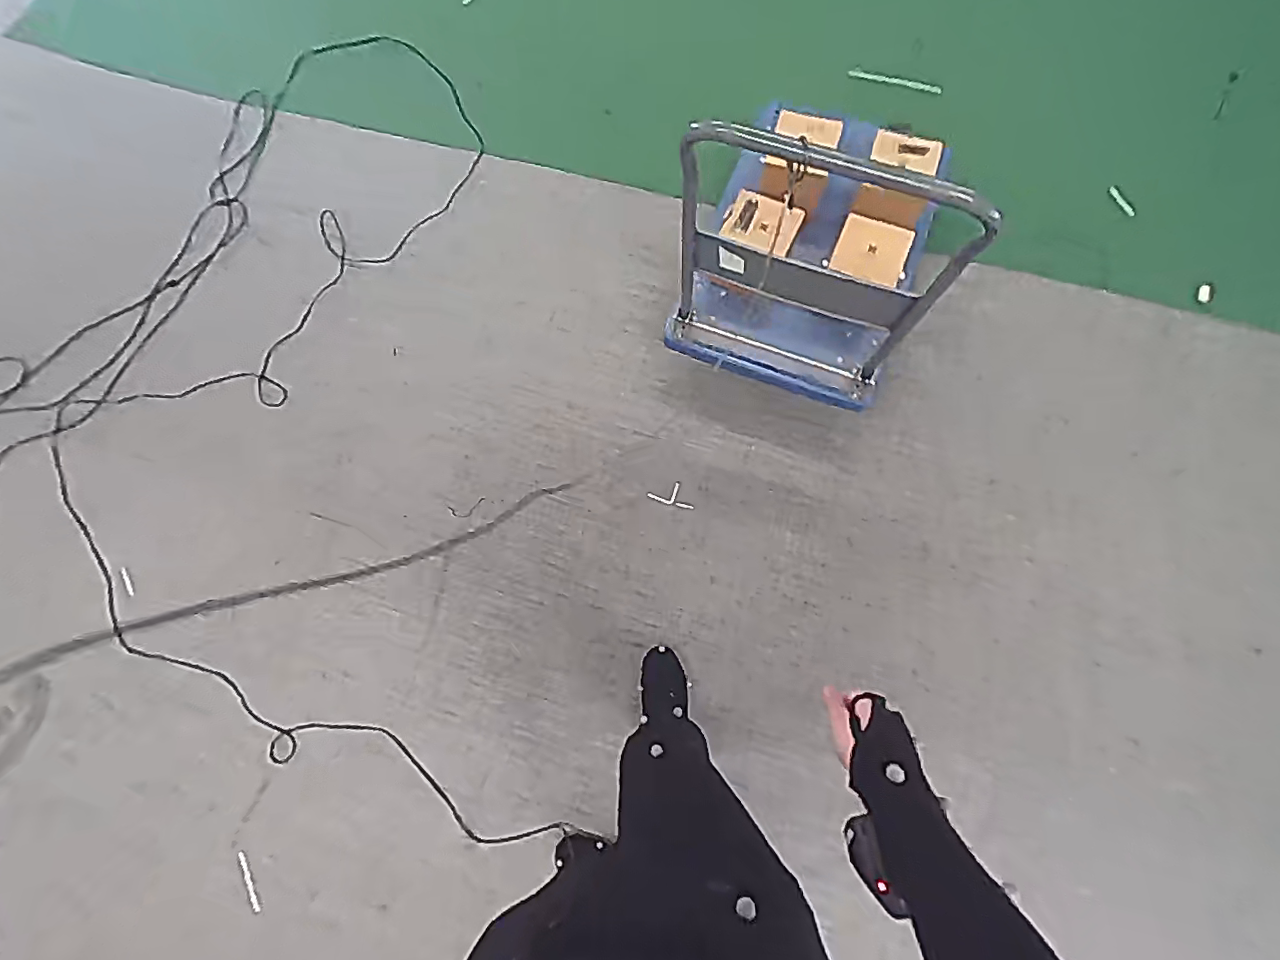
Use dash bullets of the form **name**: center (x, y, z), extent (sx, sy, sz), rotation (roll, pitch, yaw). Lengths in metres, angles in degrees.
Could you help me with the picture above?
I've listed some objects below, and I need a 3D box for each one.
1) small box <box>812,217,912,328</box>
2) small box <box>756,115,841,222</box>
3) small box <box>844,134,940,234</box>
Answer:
- **small box**: center (0.559, -0.525, 1.381), extent (0.168, 0.176, 0.179), rotation (22, 78, 9)
- **small box**: center (0.424, -0.841, 1.473), extent (0.168, 0.176, 0.179), rotation (17, 77, 7)
- **small box**: center (0.662, -0.768, 1.438), extent (0.168, 0.176, 0.179), rotation (17, 78, 9)
